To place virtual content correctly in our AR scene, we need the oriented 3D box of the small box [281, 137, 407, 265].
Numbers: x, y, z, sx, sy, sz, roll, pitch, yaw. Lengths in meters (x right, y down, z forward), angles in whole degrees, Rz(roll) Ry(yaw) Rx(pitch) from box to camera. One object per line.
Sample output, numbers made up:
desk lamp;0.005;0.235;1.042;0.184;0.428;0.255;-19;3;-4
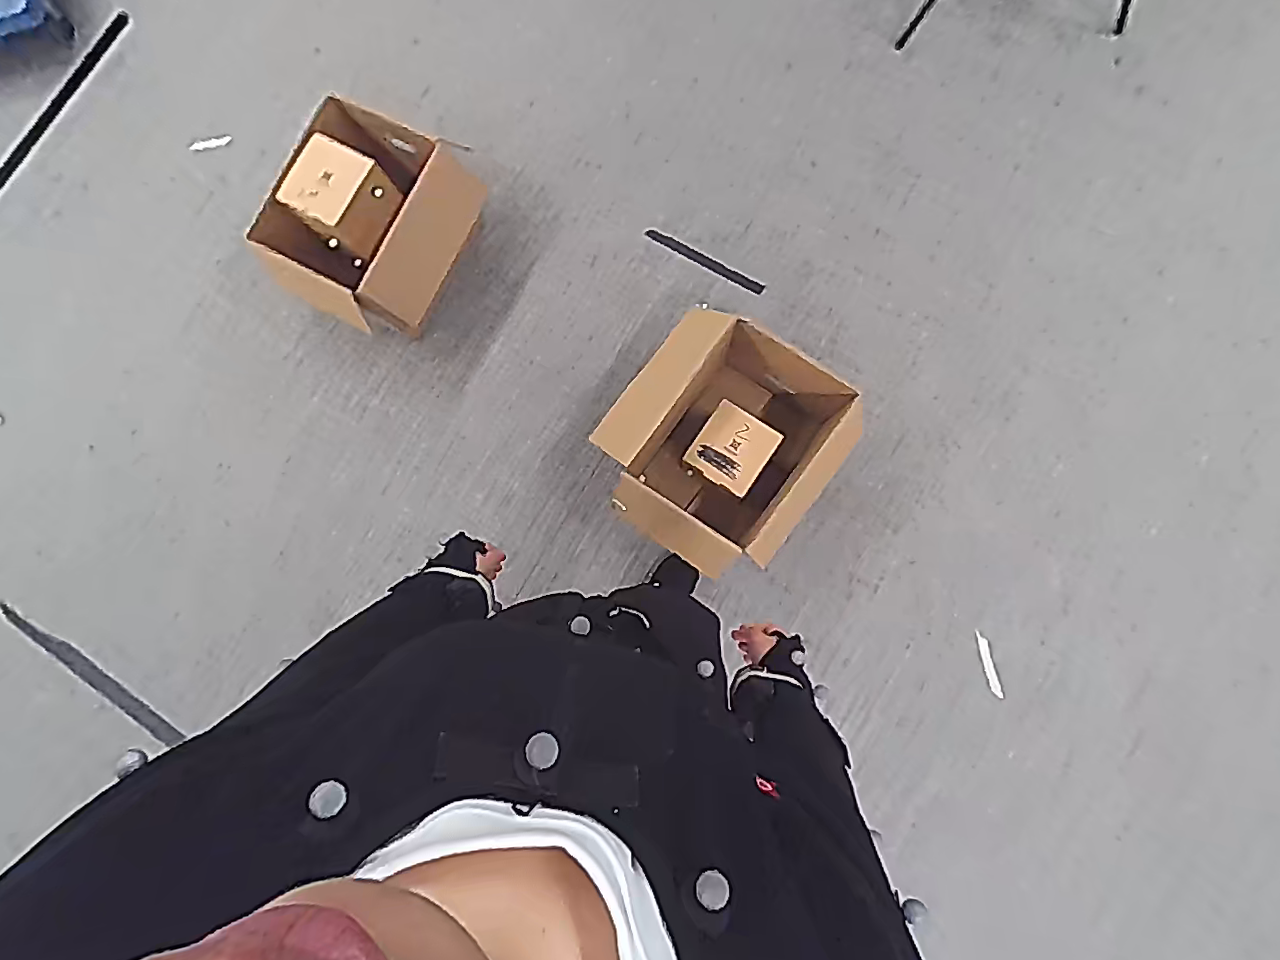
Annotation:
small box;-0.686;-0.651;1.280;0.168;0.176;0.179;29;86;7
